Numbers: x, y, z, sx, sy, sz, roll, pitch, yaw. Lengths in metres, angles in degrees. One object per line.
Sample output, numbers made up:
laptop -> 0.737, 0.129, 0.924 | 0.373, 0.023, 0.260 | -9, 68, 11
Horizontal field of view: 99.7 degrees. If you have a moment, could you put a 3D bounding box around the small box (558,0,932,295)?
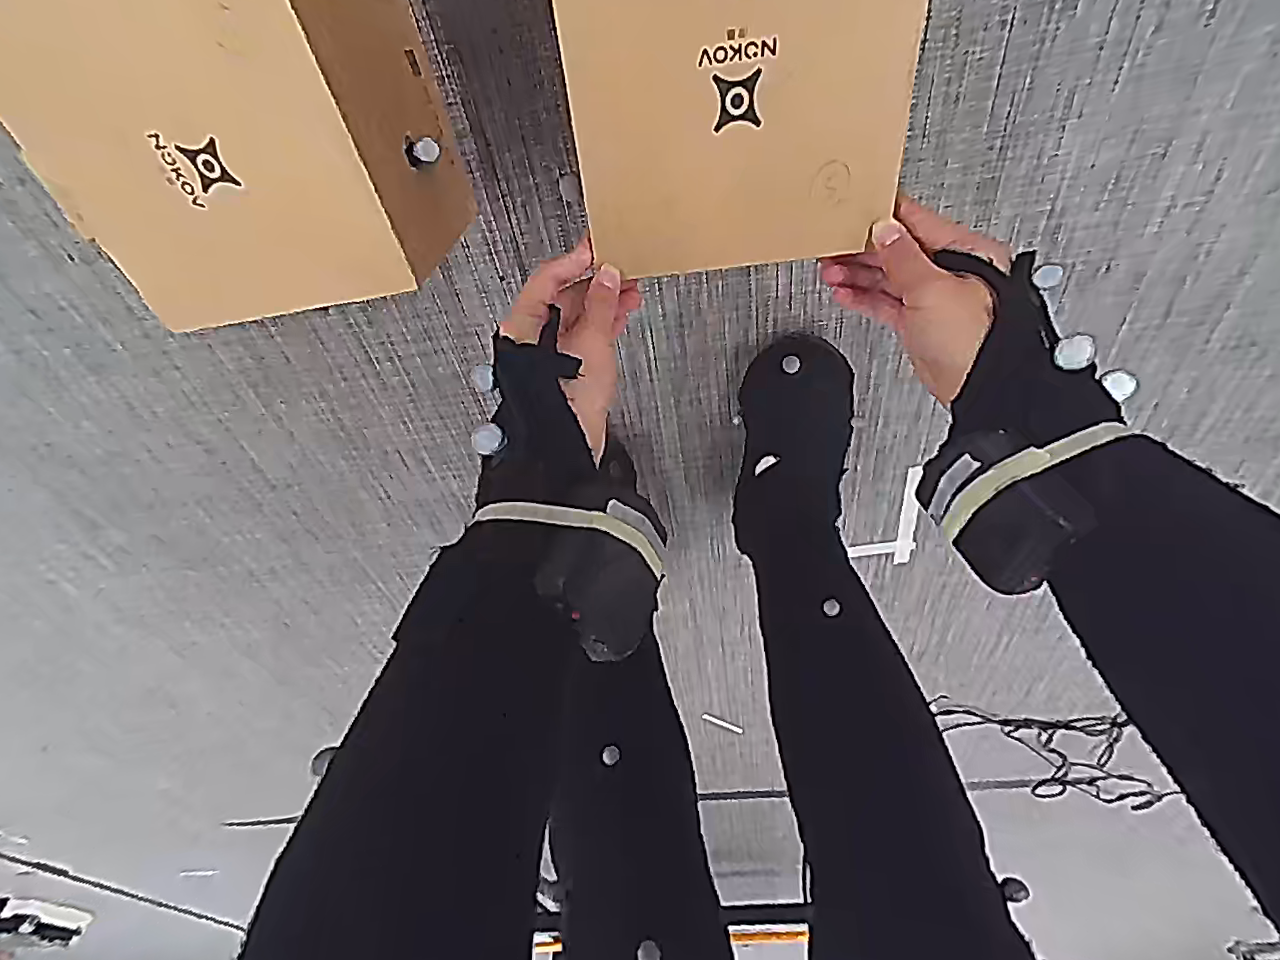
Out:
small box -> 0.050, -0.231, 0.323 | 0.168, 0.176, 0.179 | -5, 128, 3

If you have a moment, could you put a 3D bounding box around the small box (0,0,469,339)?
small box -> -0.227, -0.215, 0.348 | 0.179, 0.176, 0.168 | -7, 131, 7
